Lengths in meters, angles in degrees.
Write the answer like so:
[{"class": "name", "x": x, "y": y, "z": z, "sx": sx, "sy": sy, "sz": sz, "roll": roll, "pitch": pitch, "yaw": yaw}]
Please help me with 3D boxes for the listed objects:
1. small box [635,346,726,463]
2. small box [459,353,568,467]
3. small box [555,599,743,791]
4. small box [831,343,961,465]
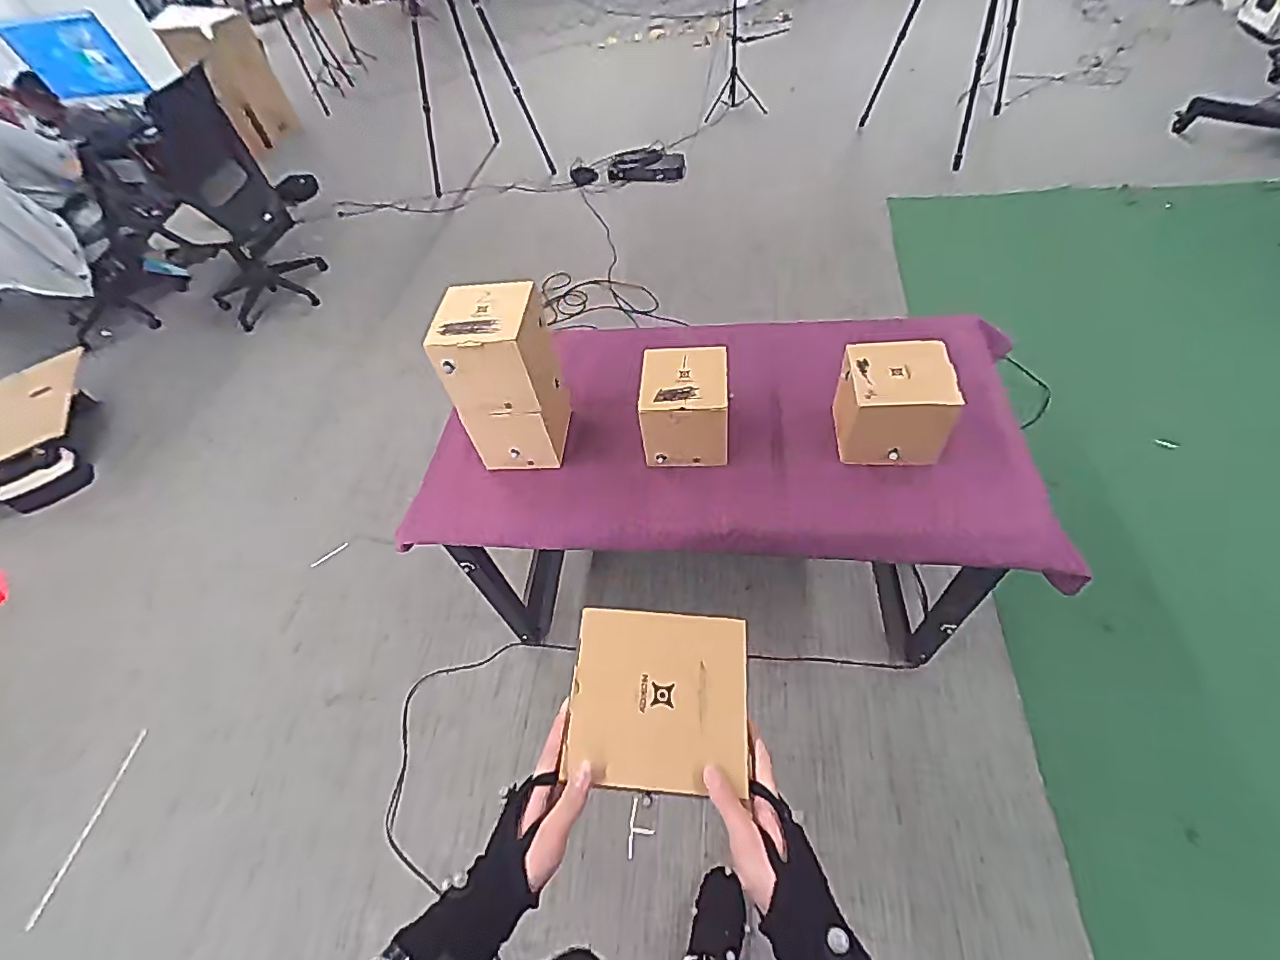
[{"class": "small box", "x": 0.089, "y": -0.147, "z": 1.094, "sx": 0.168, "sy": 0.176, "sz": 0.179, "roll": 0, "pitch": 53, "yaw": 8}, {"class": "small box", "x": -0.254, "y": -0.146, "z": 1.140, "sx": 0.168, "sy": 0.176, "sz": 0.179, "roll": -1, "pitch": 53, "yaw": 8}, {"class": "small box", "x": 0.016, "y": 0.244, "z": 0.603, "sx": 0.179, "sy": 0.176, "sz": 0.168, "roll": 4, "pitch": 60, "yaw": 4}, {"class": "small box", "x": 0.475, "y": -0.142, "z": 1.033, "sx": 0.179, "sy": 0.176, "sz": 0.168, "roll": 1, "pitch": 53, "yaw": 9}]
